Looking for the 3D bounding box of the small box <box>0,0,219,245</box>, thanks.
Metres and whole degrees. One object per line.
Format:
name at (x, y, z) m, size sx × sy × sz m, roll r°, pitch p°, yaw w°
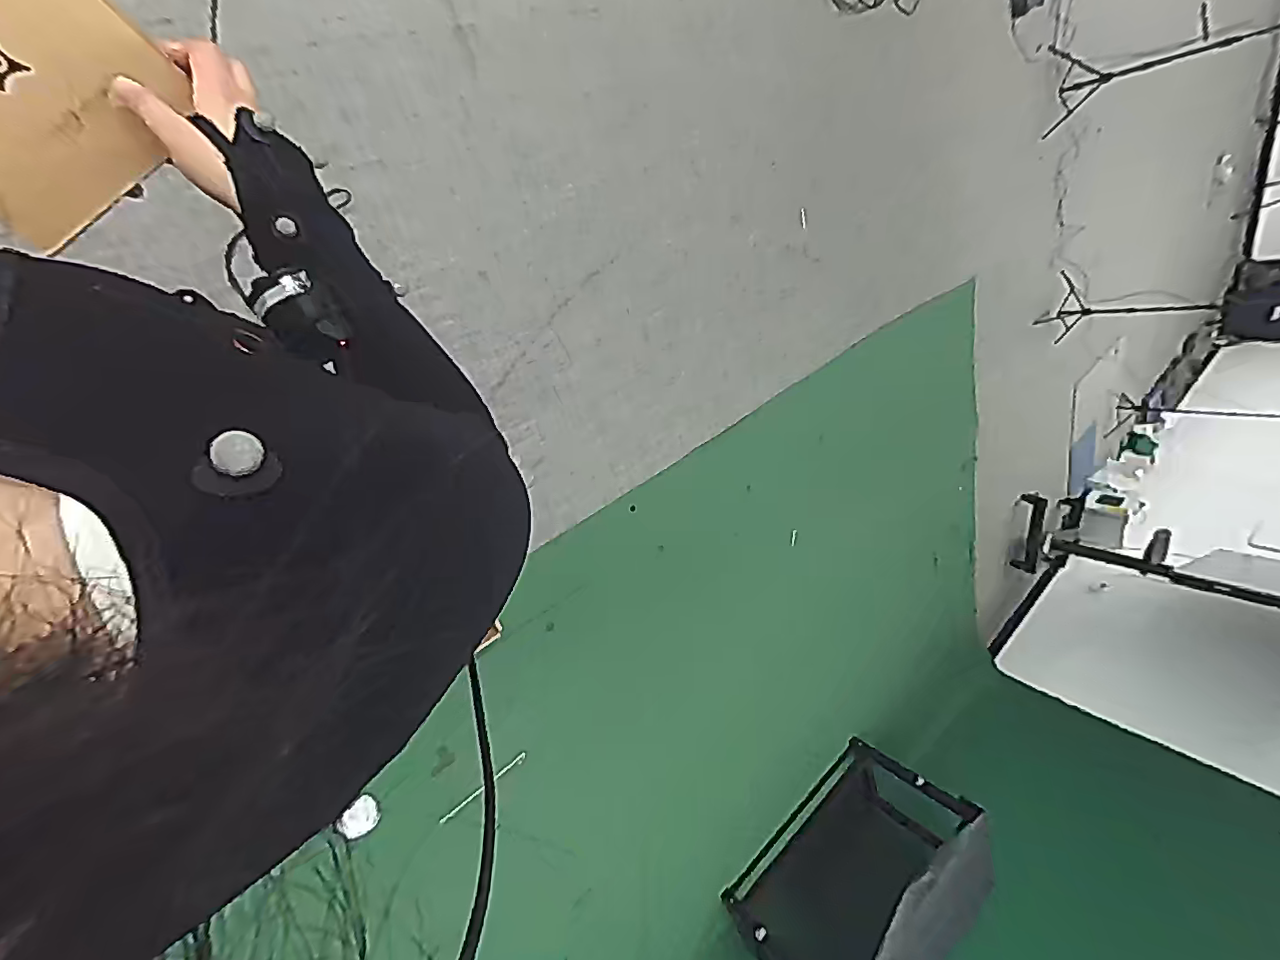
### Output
small box at (-0.460, -0.305, 0.385) m, size 0.168 × 0.176 × 0.179 m, roll -48°, pitch 142°, yaw -8°
